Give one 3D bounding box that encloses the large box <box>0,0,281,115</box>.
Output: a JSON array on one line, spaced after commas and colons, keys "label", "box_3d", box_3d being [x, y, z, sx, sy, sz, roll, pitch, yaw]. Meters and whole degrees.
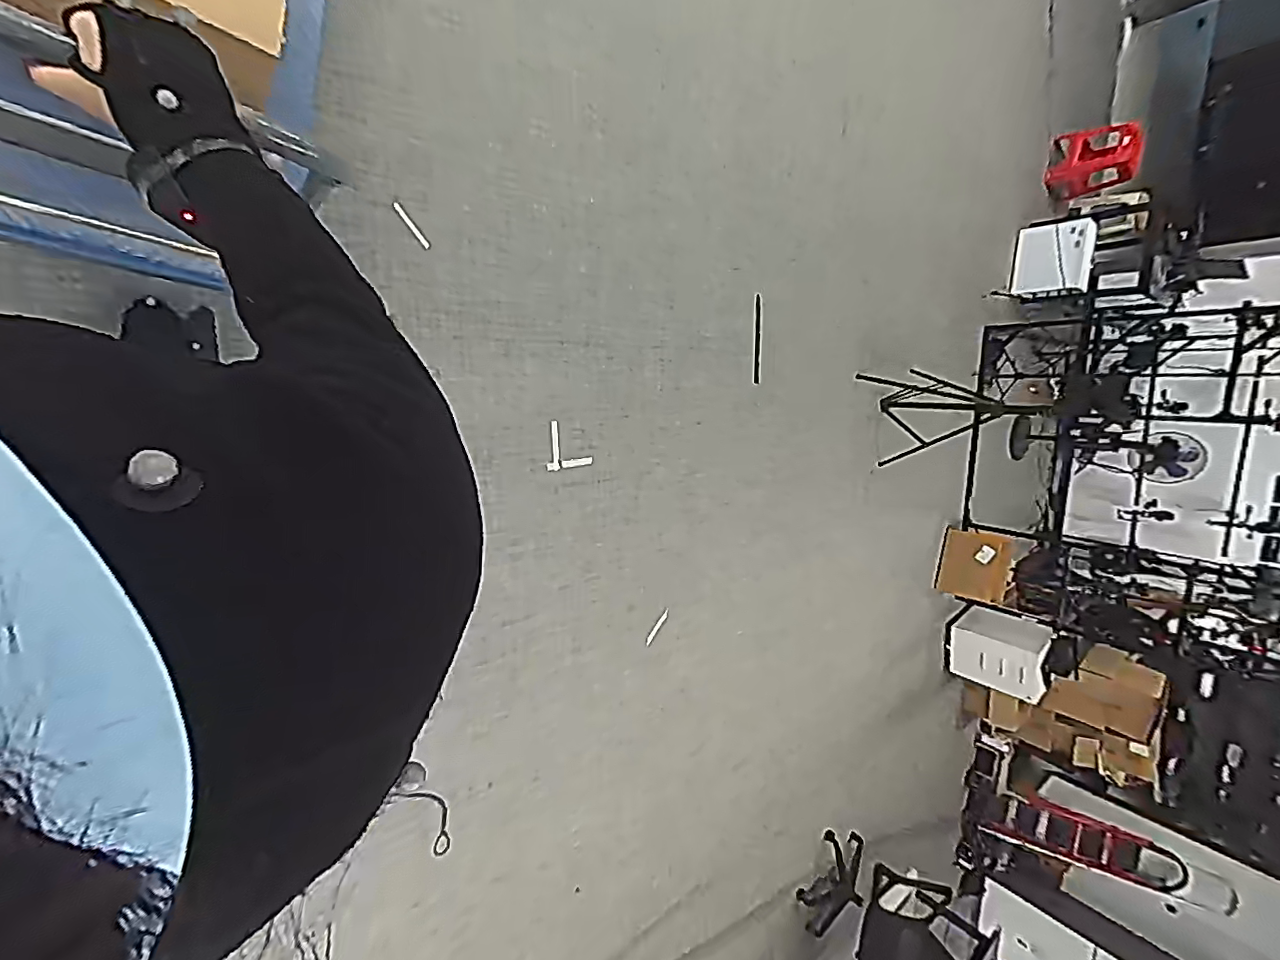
[{"label": "large box", "box_3d": [-0.762, -0.827, 0.779, 0.408, 0.320, 0.320, 6, 94, -40]}]
